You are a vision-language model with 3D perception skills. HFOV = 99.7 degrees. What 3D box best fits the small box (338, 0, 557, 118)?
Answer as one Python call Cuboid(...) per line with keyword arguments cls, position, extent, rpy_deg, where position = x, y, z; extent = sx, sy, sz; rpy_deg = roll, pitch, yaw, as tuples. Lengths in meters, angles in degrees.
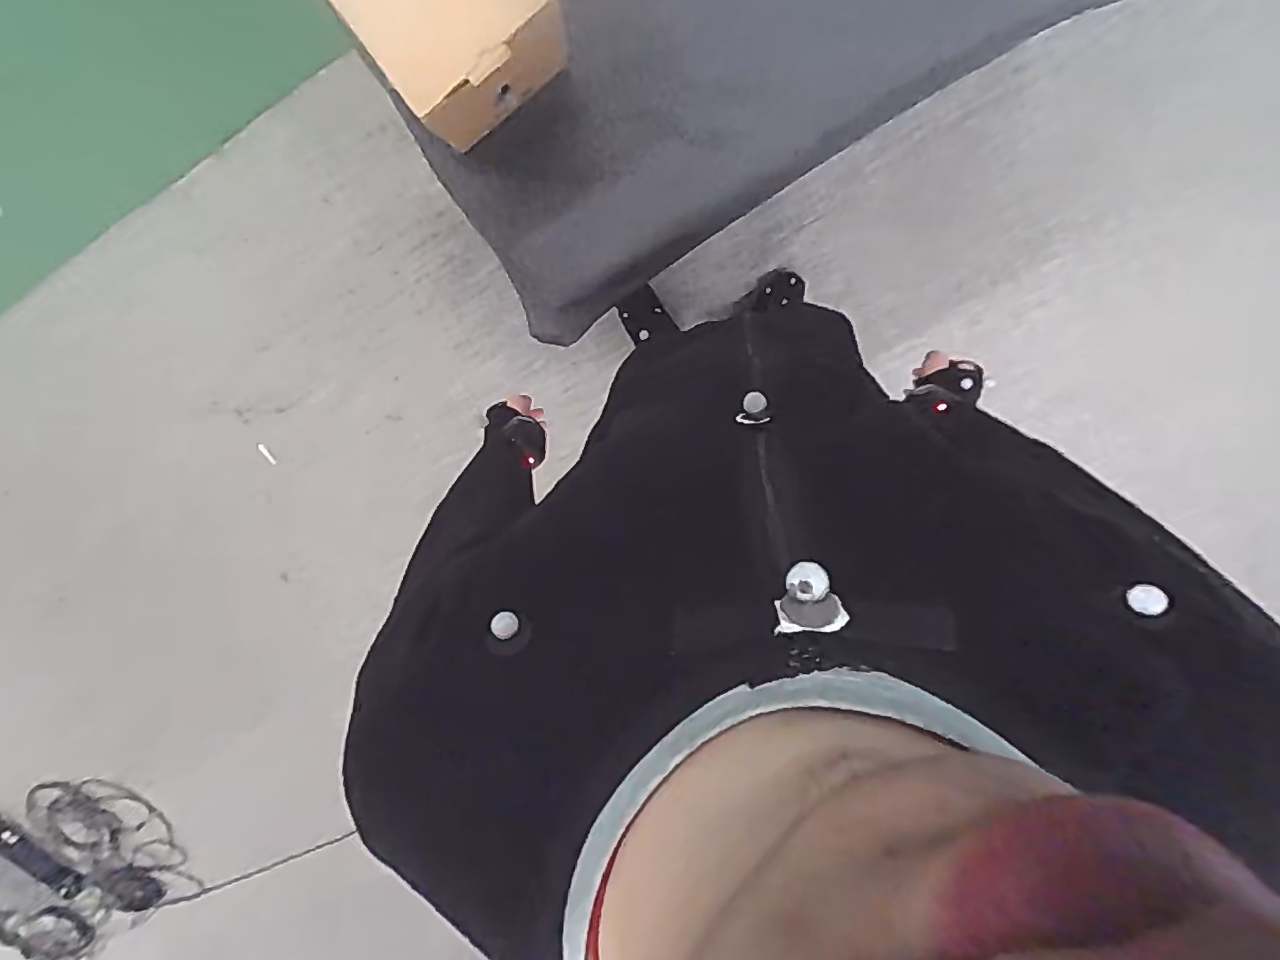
Cuboid(cls="small box", position=(-0.196, -0.487, 0.522), extent=(0.168, 0.176, 0.179), rpy_deg=(-34, 112, 10))
